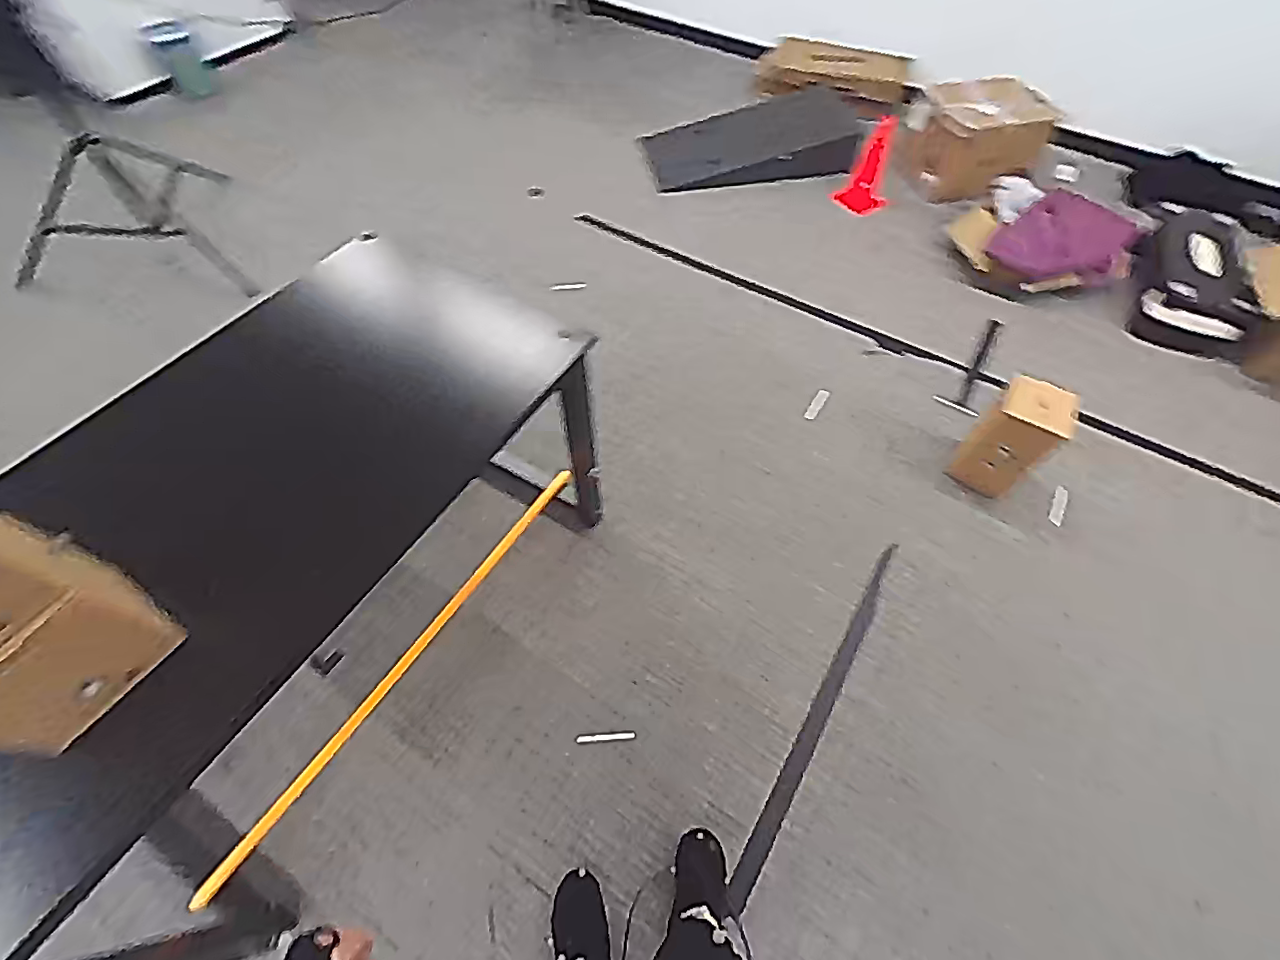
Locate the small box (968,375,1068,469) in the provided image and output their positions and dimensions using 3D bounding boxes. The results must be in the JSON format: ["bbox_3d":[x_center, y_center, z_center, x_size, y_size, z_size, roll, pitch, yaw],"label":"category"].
[{"bbox_3d":[1.087,-0.165,1.564,0.168,0.176,0.179,26,62,15],"label":"small box"}]

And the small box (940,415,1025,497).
[{"bbox_3d":[1.087,-0.076,1.701,0.179,0.176,0.168,32,63,16],"label":"small box"}]

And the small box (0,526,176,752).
[{"bbox_3d":[-0.713,0.190,0.626,0.179,0.176,0.168,29,62,16],"label":"small box"}]

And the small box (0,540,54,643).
[{"bbox_3d":[-0.719,0.100,0.489,0.179,0.176,0.168,27,61,14],"label":"small box"}]
